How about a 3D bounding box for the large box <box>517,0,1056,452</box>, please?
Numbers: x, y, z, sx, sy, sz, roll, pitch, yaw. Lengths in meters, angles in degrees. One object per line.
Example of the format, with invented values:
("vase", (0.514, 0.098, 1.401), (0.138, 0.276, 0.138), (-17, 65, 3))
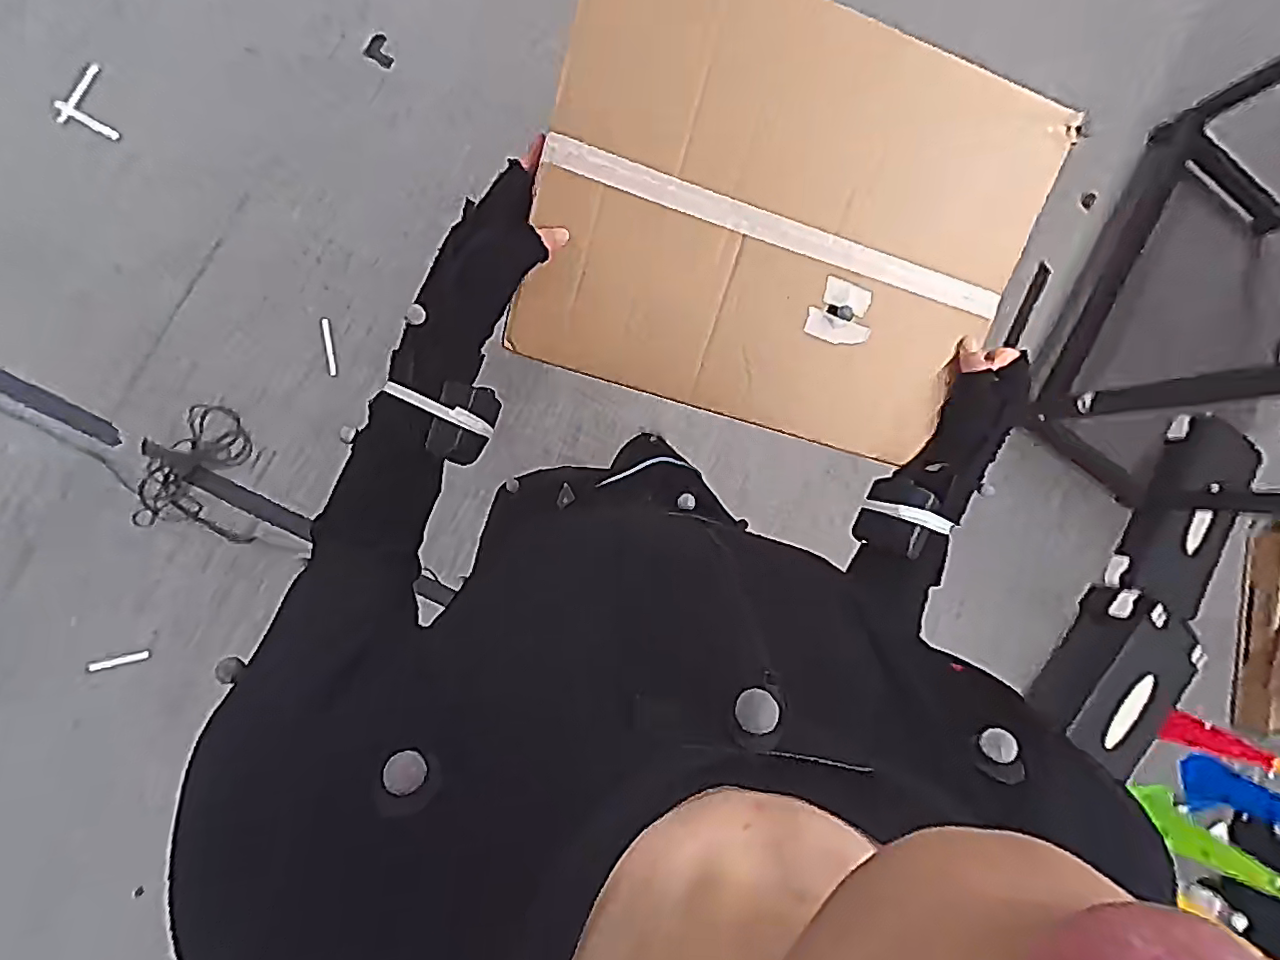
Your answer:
("large box", (0.105, -0.257, 0.599), (0.408, 0.320, 0.320), (15, 107, -11))
